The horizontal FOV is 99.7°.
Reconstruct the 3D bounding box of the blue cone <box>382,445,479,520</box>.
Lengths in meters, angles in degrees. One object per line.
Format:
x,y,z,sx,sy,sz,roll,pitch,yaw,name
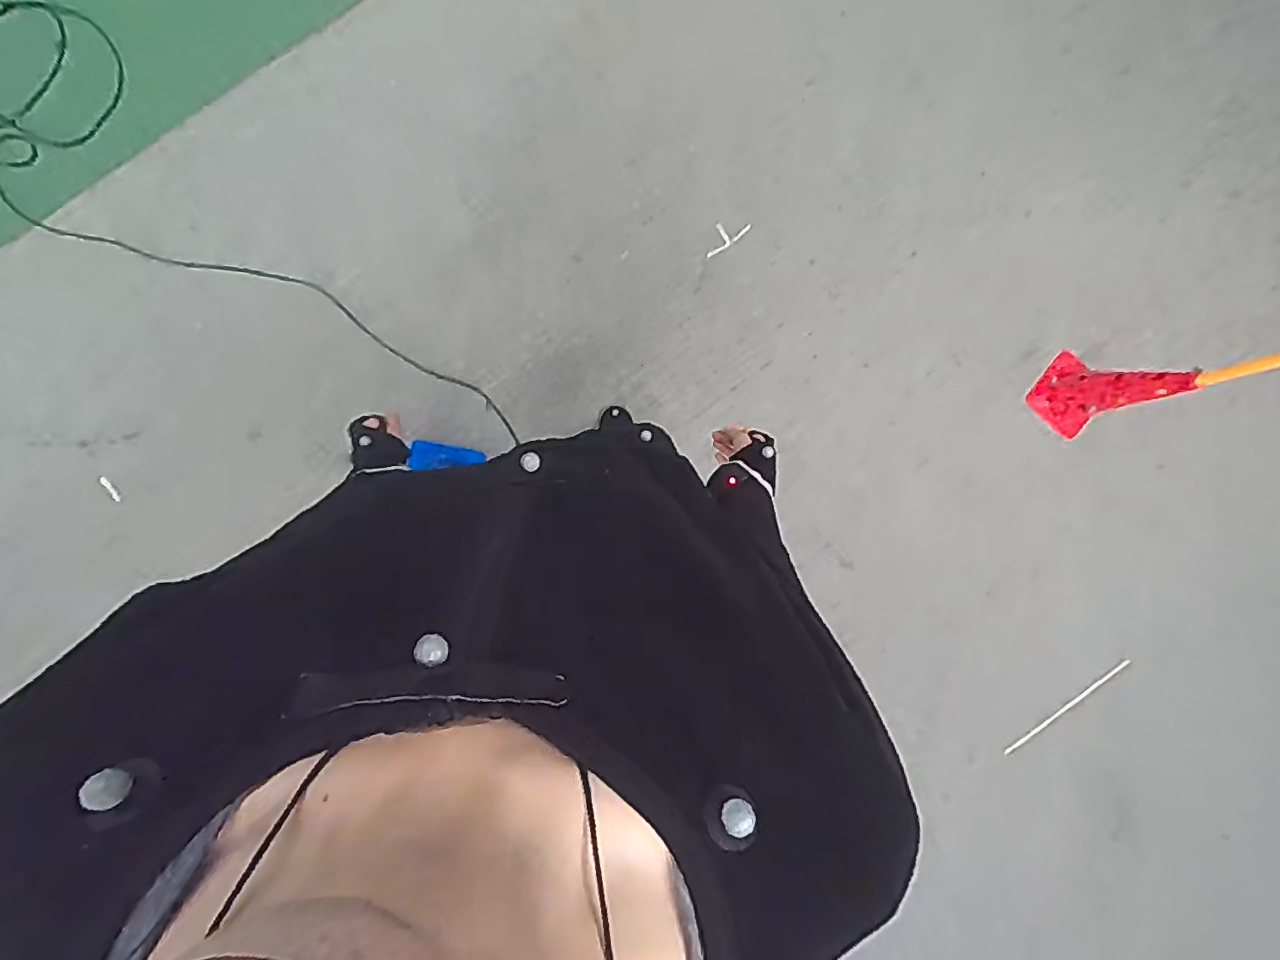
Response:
-0.513,0.029,1.273,0.192,0.380,0.193,9,96,-7,blue cone
